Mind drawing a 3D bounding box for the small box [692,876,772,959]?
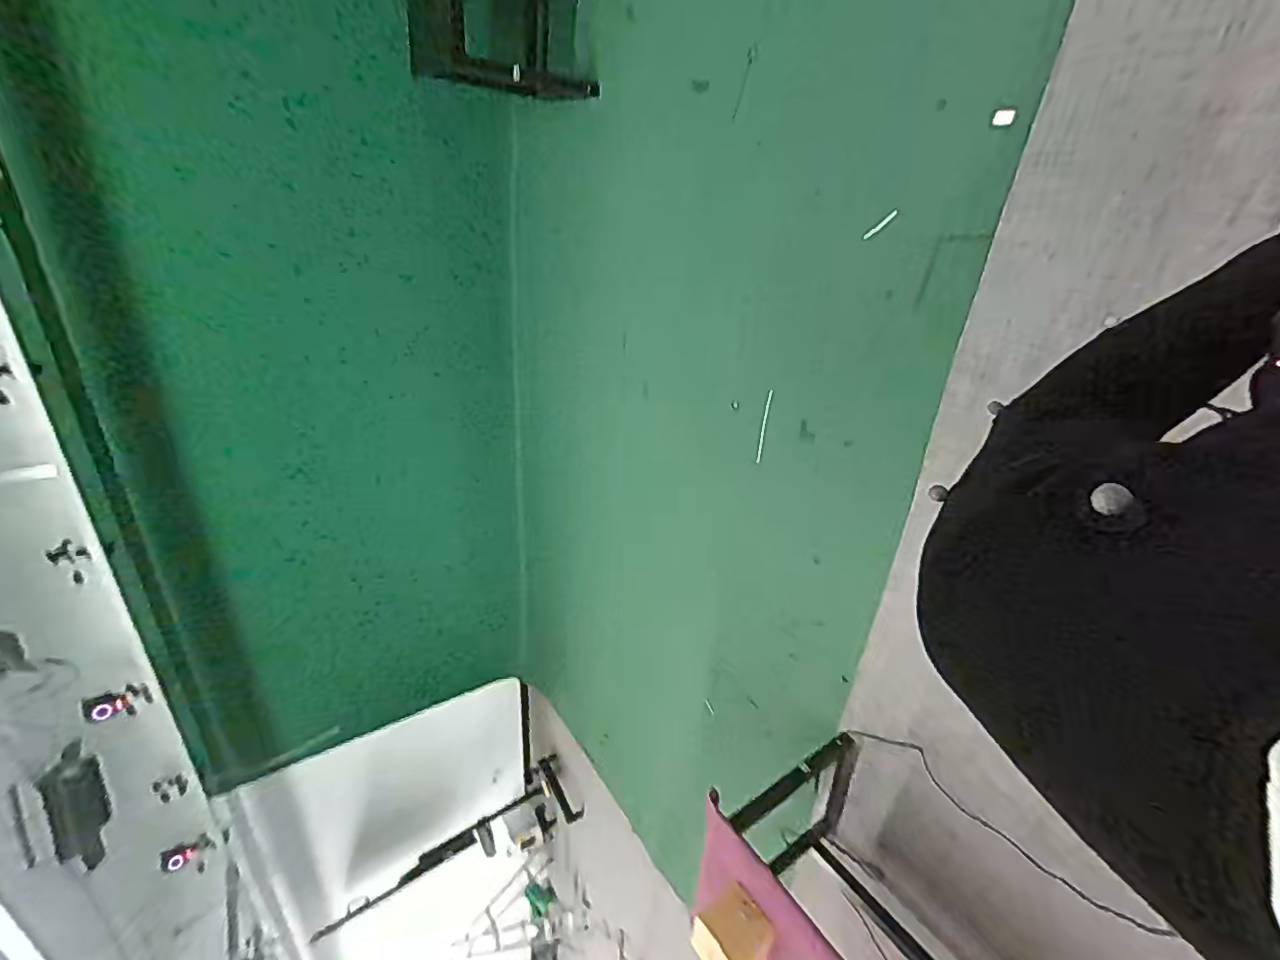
[{"bbox_3d":[0.279,1.370,1.645,0.168,0.176,0.179,34,130,44],"label":"small box"}]
